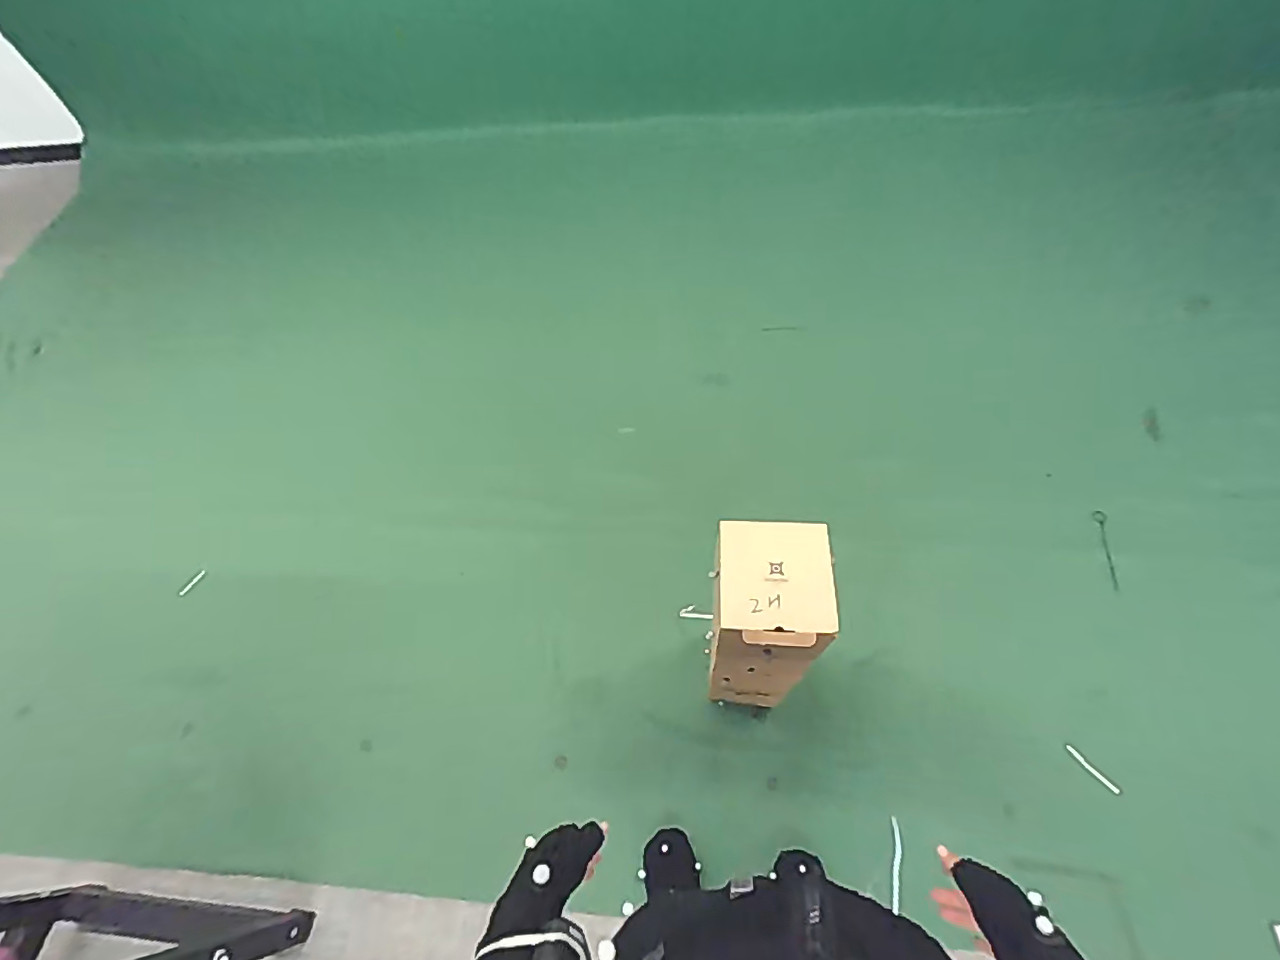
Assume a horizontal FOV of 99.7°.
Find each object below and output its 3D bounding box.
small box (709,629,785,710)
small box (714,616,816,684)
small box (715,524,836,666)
[{"bbox_3d":[0.254,0.443,1.295,0.168,0.176,0.179,4,59,8],"label":"small box"},{"bbox_3d":[0.226,0.271,1.017,0.168,0.176,0.179,2,59,6],"label":"small box"},{"bbox_3d":[0.208,0.189,0.875,0.168,0.176,0.179,1,59,6],"label":"small box"}]
